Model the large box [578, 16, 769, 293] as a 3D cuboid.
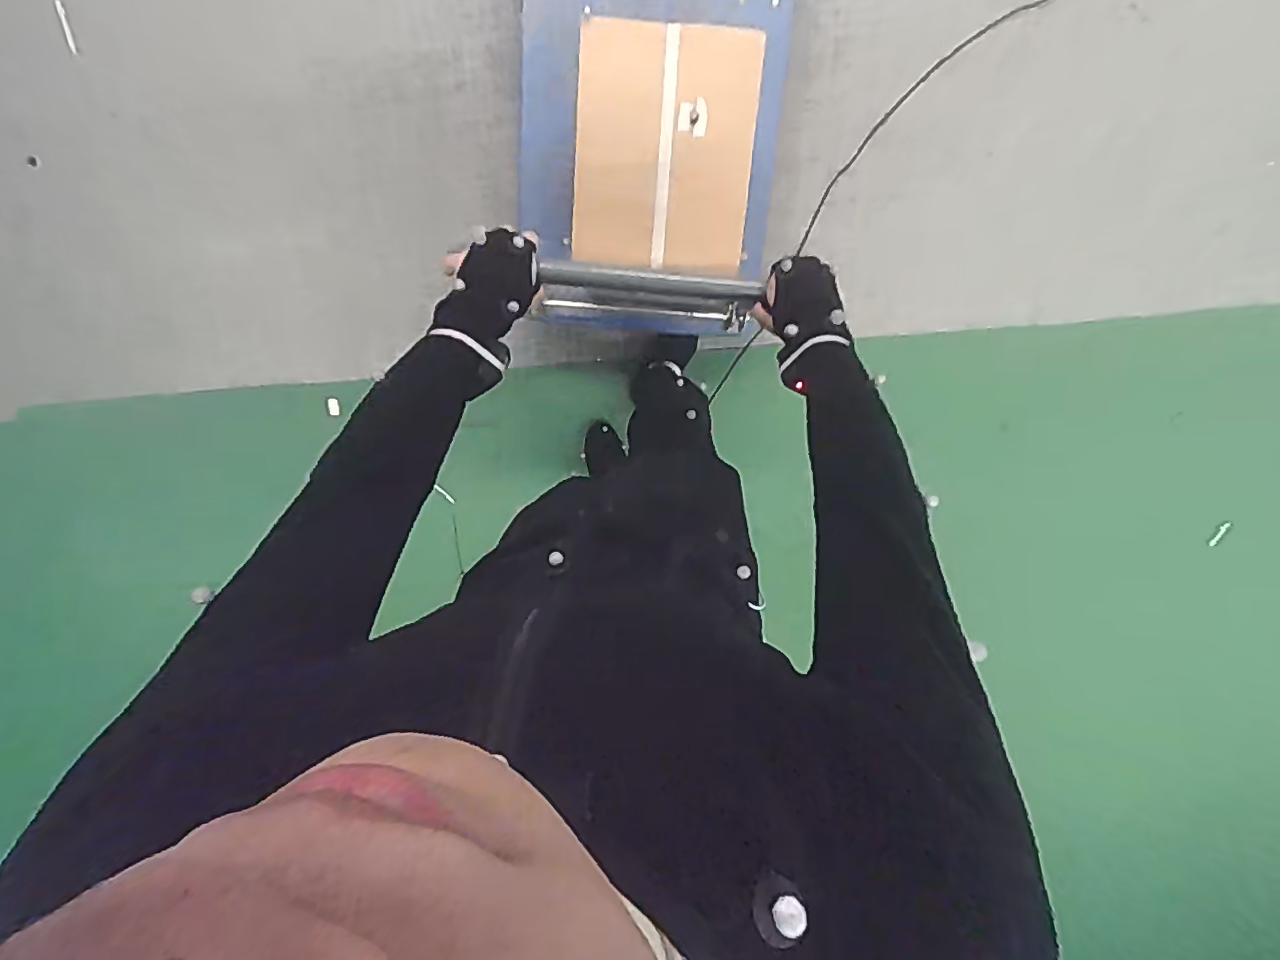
[{"bbox_3d":[0.052,-0.602,1.086,0.320,0.320,0.408,4,105,-2],"label":"large box"}]
